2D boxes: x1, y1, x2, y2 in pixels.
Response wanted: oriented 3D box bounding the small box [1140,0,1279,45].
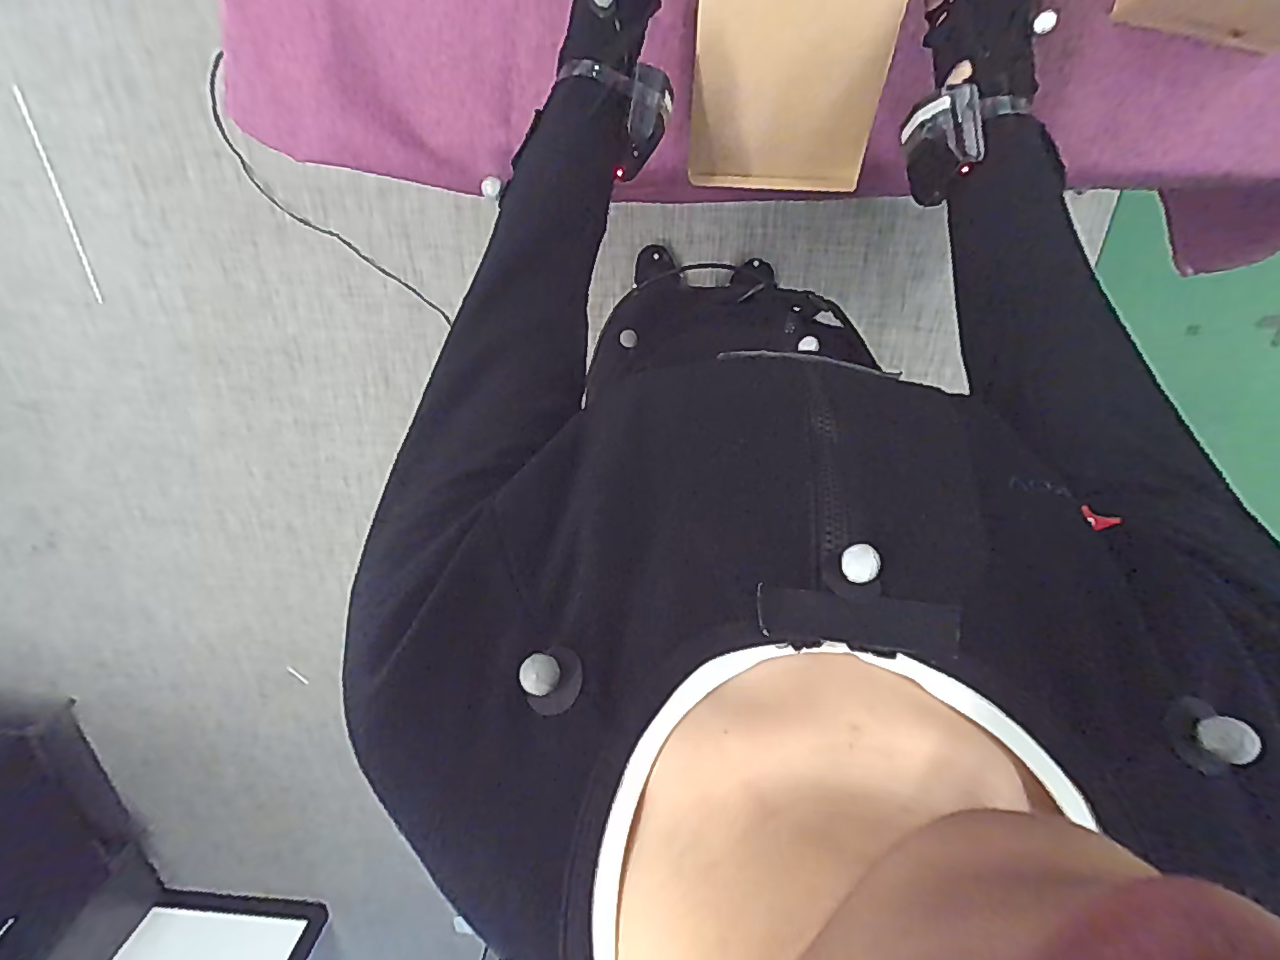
[{"bbox_3d":[0.539,-0.469,0.406,0.168,0.176,0.179,13,114,-1],"label":"small box"}]
